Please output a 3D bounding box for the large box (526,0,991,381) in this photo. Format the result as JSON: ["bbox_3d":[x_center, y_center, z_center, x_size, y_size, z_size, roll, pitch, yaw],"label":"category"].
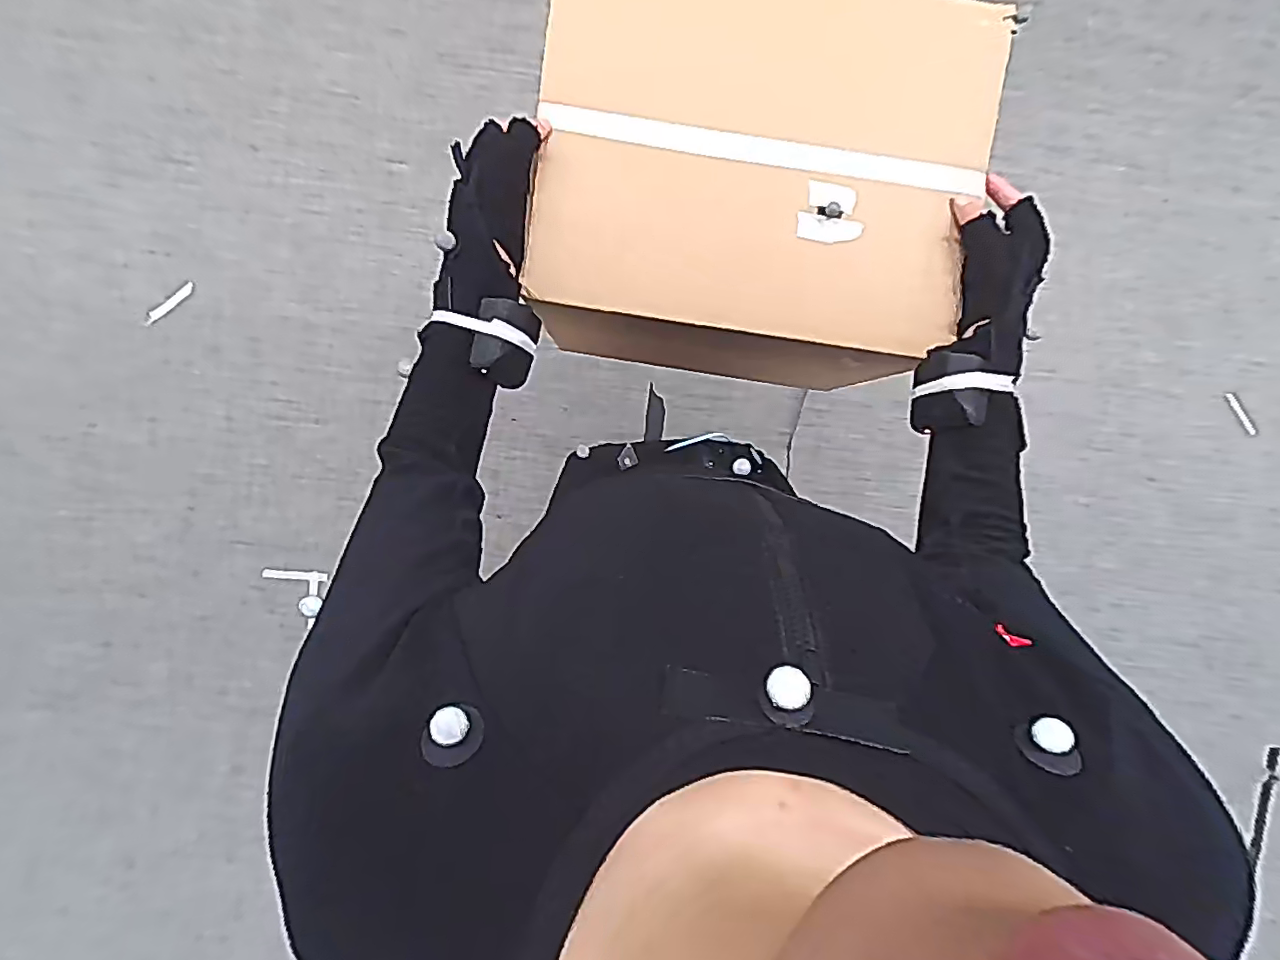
[{"bbox_3d":[0.101,-0.310,0.646,0.408,0.320,0.320,8,96,-3],"label":"large box"}]
